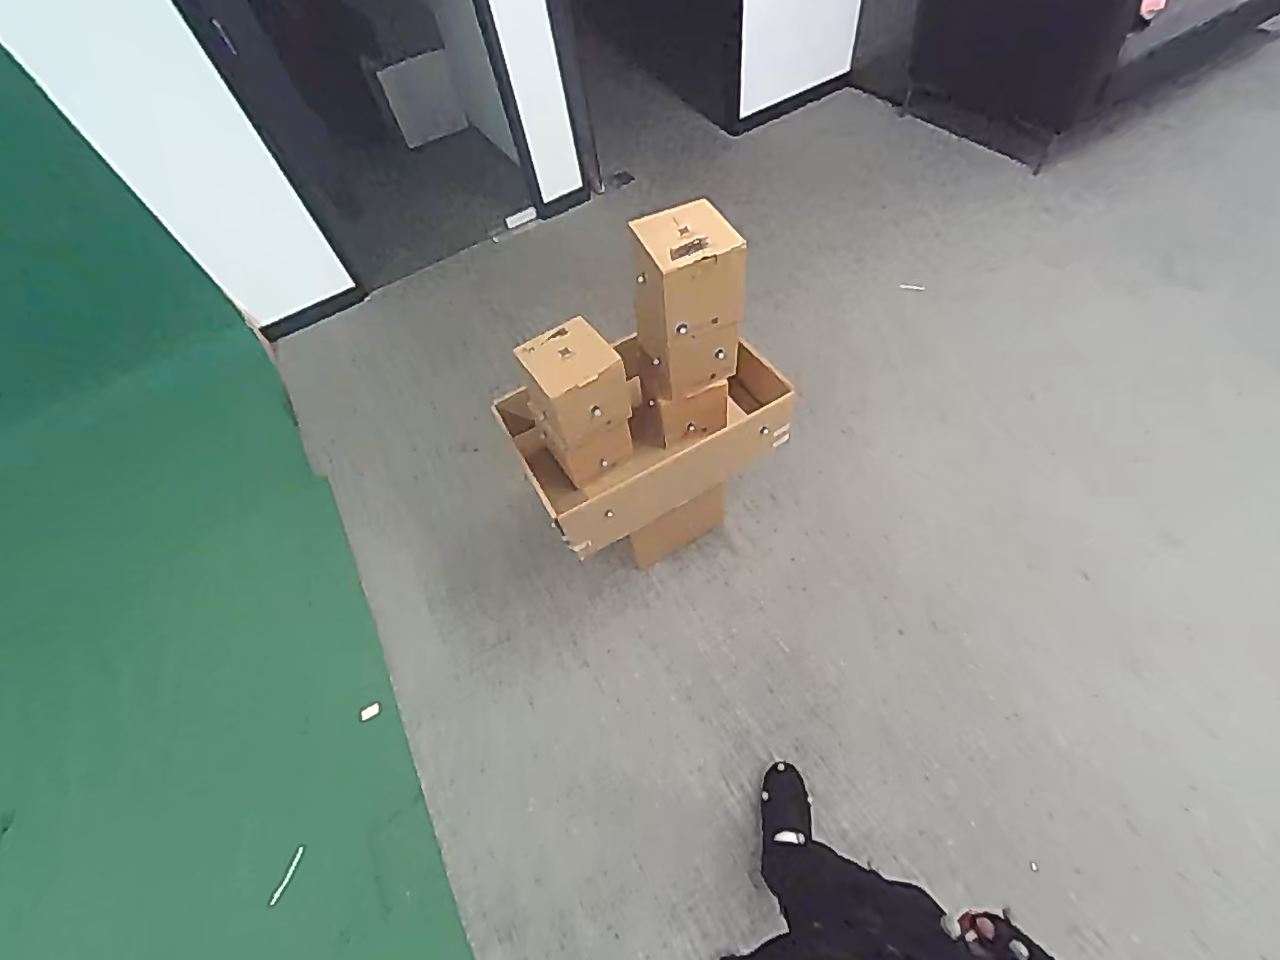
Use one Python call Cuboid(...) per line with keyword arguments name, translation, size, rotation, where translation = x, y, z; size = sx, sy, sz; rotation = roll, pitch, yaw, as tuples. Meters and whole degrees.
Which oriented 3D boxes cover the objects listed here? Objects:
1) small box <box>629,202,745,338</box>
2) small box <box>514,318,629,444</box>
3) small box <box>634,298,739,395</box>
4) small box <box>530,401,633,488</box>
Cuboid(name="small box", translation=(0.091, -0.400, 1.052), size=(0.168, 0.176, 0.179), rotation=(-20, 55, -7))
Cuboid(name="small box", translation=(-0.137, -0.200, 1.141), size=(0.168, 0.176, 0.179), rotation=(-30, 58, -14))
Cuboid(name="small box", translation=(0.102, -0.309, 1.187), size=(0.168, 0.176, 0.179), rotation=(-23, 56, -9))
Cuboid(name="small box", translation=(-0.134, -0.114, 1.281), size=(0.168, 0.176, 0.179), rotation=(-31, 58, -13))
